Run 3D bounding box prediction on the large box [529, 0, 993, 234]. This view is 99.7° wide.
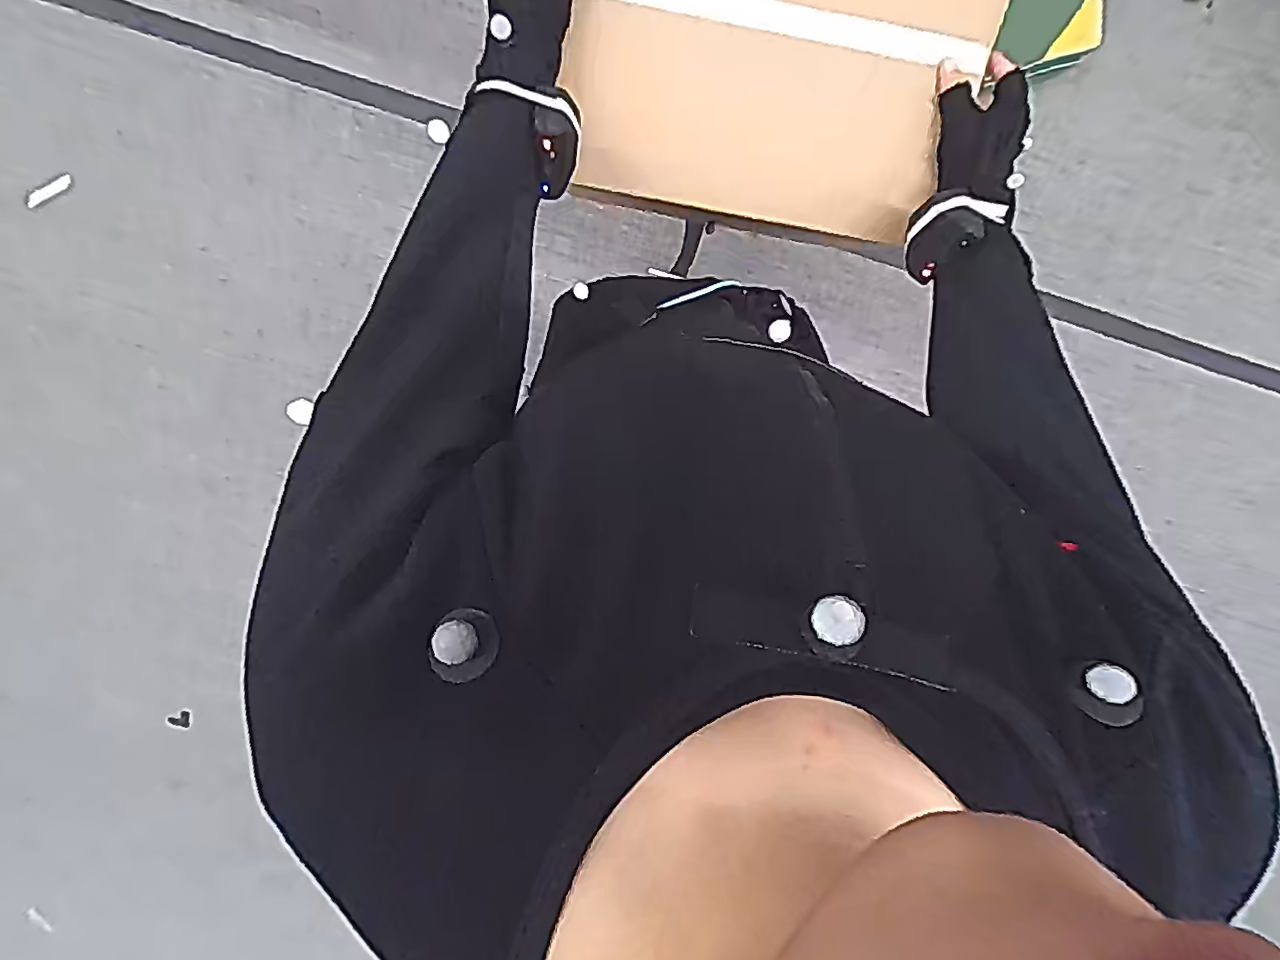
[{"bbox_3d":[0.115,-0.481,0.619,0.408,0.320,0.320,10,113,-3],"label":"large box"}]
